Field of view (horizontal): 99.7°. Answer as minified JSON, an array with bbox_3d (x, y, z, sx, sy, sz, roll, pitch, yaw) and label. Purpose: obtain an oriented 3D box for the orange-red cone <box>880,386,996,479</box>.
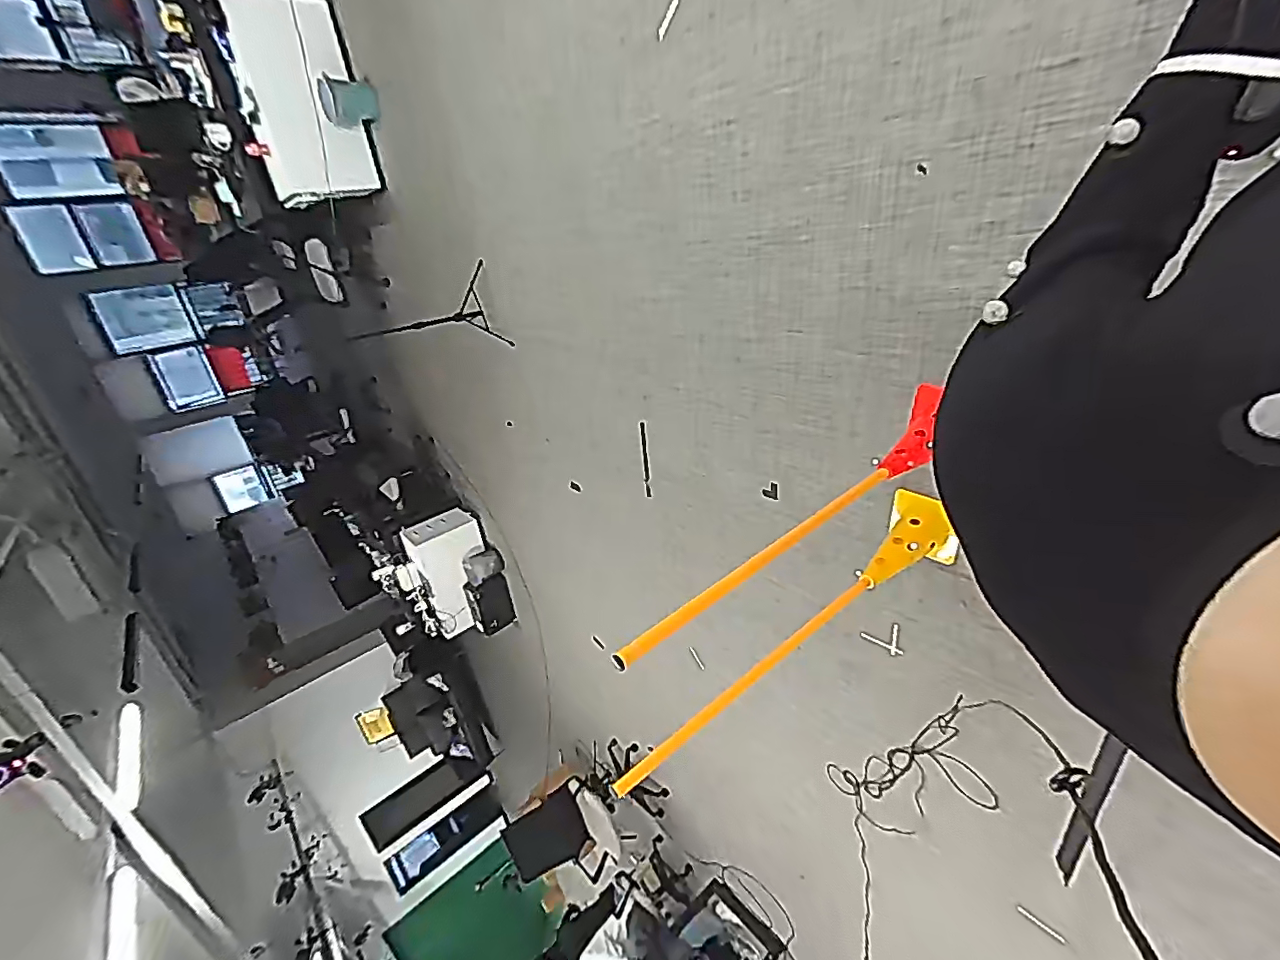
[{"bbox_3d":[0.707,-0.083,1.365,0.198,0.360,0.199,29,131,40],"label":"orange-red cone"}]
